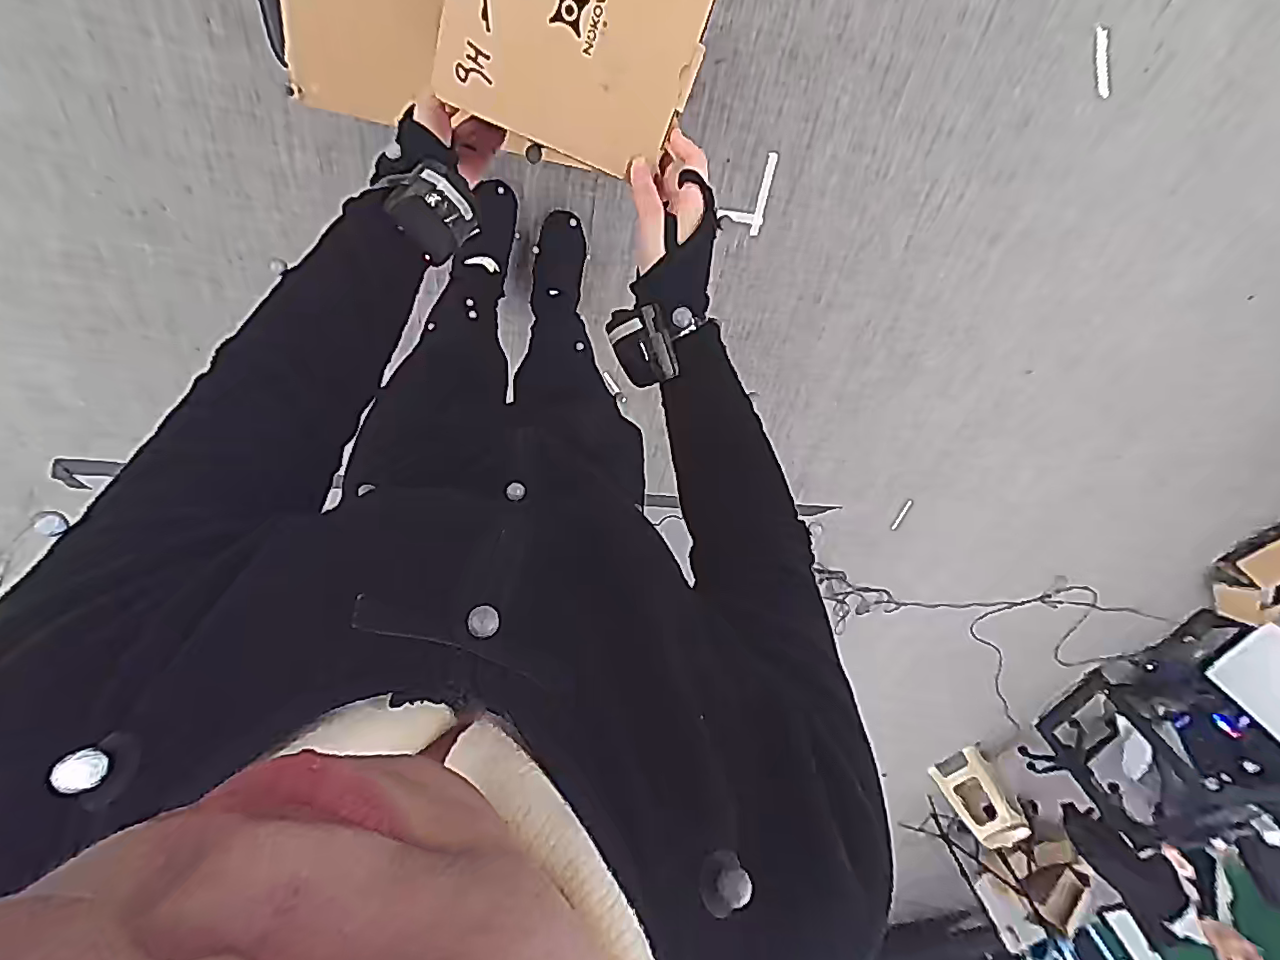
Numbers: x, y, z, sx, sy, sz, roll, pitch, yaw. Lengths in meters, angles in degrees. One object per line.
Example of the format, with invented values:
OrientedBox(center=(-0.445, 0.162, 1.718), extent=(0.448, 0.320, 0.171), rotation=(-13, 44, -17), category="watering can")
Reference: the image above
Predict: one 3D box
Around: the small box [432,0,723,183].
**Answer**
OrientedBox(center=(-0.053, -0.365, 0.431), extent=(0.179, 0.176, 0.168), rotation=(12, 118, -22), category="small box")

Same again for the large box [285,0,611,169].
OrientedBox(center=(-0.201, -0.644, 0.715), extent=(0.408, 0.320, 0.320), rotation=(5, 125, -14), category="large box")
